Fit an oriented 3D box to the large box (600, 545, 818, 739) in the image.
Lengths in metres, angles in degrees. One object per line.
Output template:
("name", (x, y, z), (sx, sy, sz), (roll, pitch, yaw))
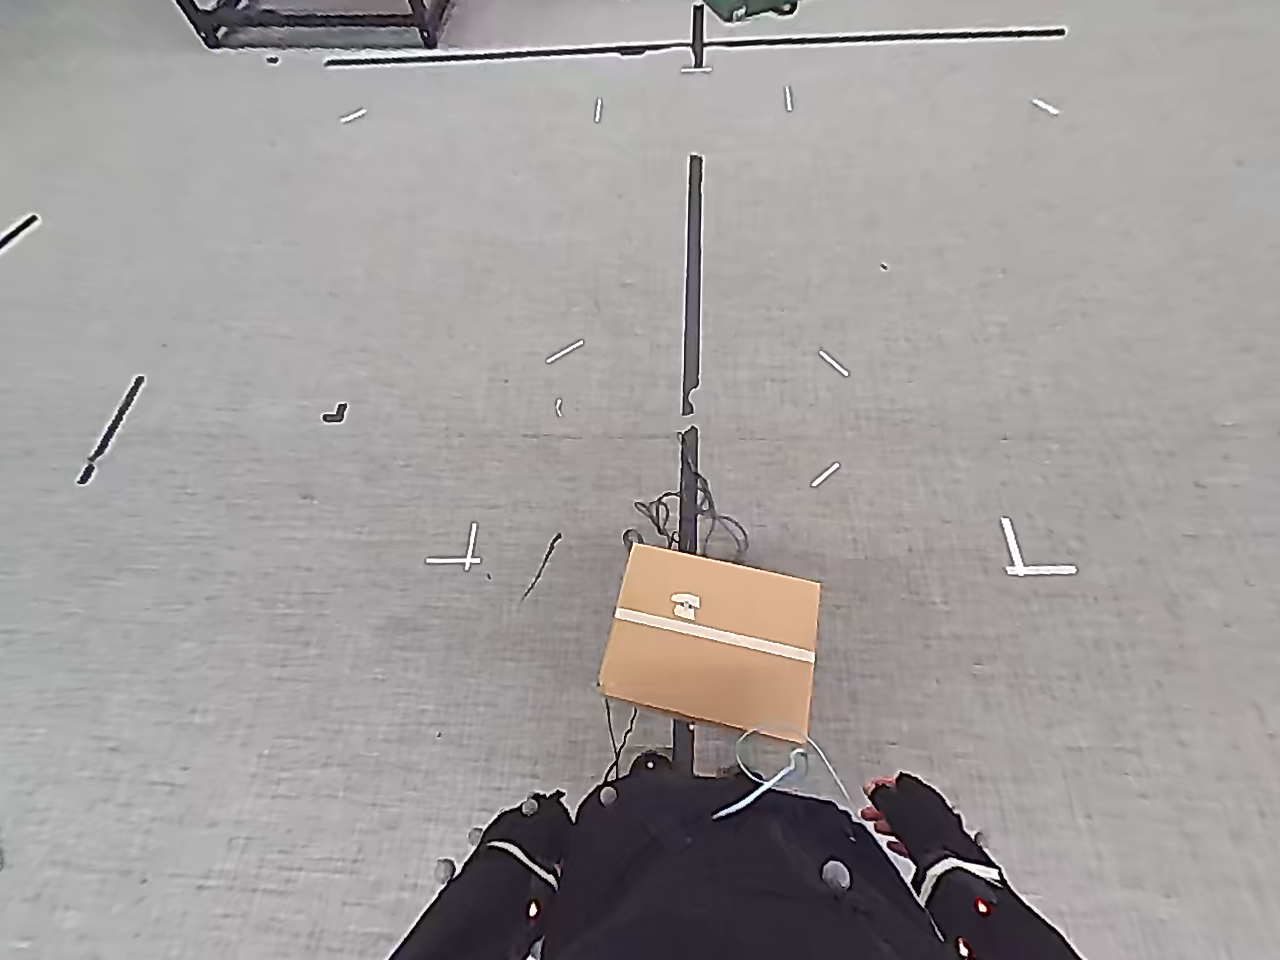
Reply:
("large box", (0.154, 0.375, 1.223), (0.408, 0.320, 0.320), (12, 64, 7))
